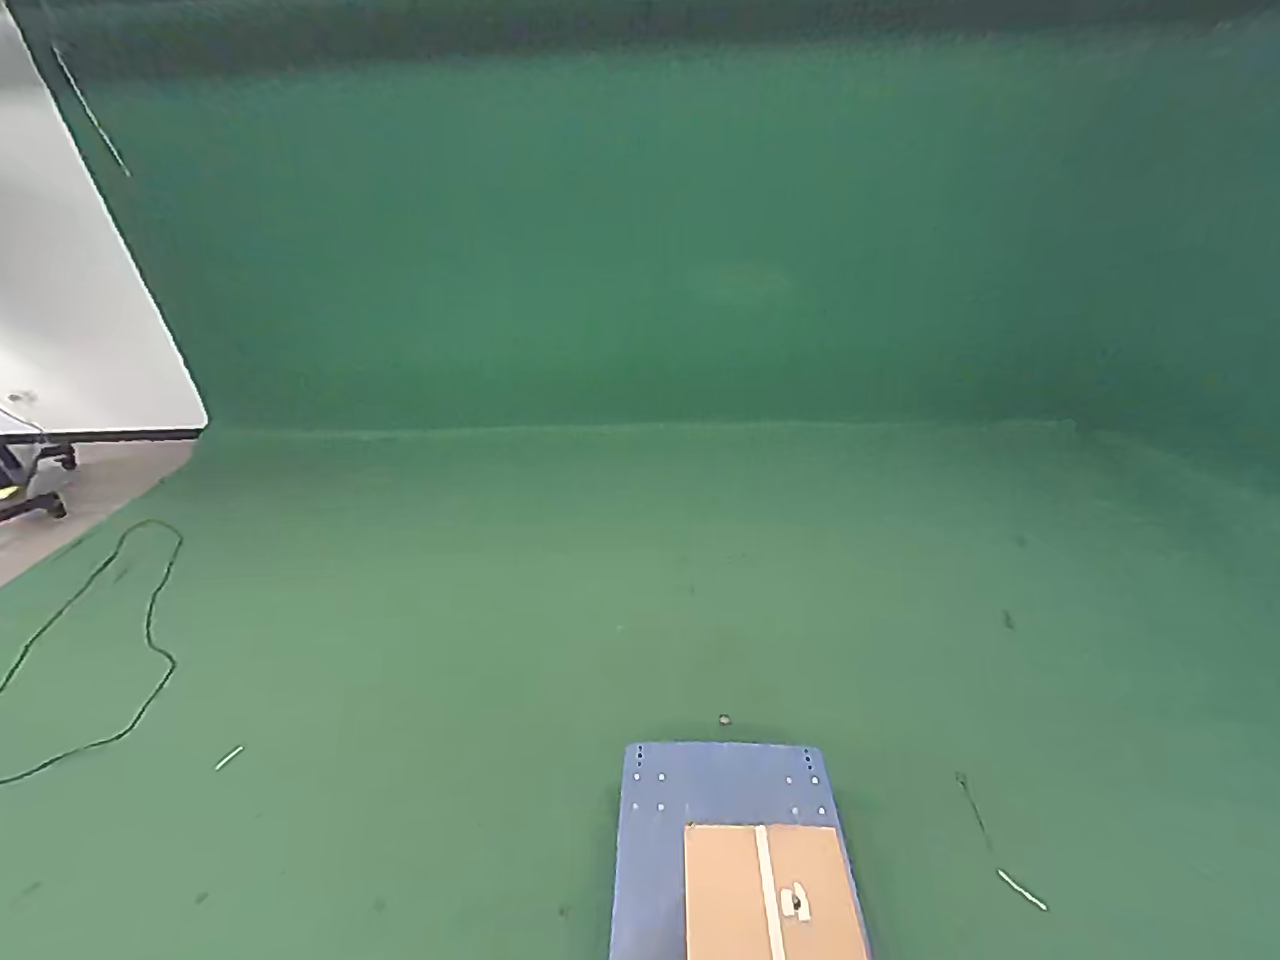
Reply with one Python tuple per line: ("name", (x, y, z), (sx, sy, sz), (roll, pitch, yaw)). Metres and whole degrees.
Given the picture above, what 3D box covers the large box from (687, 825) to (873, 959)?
("large box", (0.251, 0.940, 1.010), (0.320, 0.320, 0.408), (0, 31, 3))
